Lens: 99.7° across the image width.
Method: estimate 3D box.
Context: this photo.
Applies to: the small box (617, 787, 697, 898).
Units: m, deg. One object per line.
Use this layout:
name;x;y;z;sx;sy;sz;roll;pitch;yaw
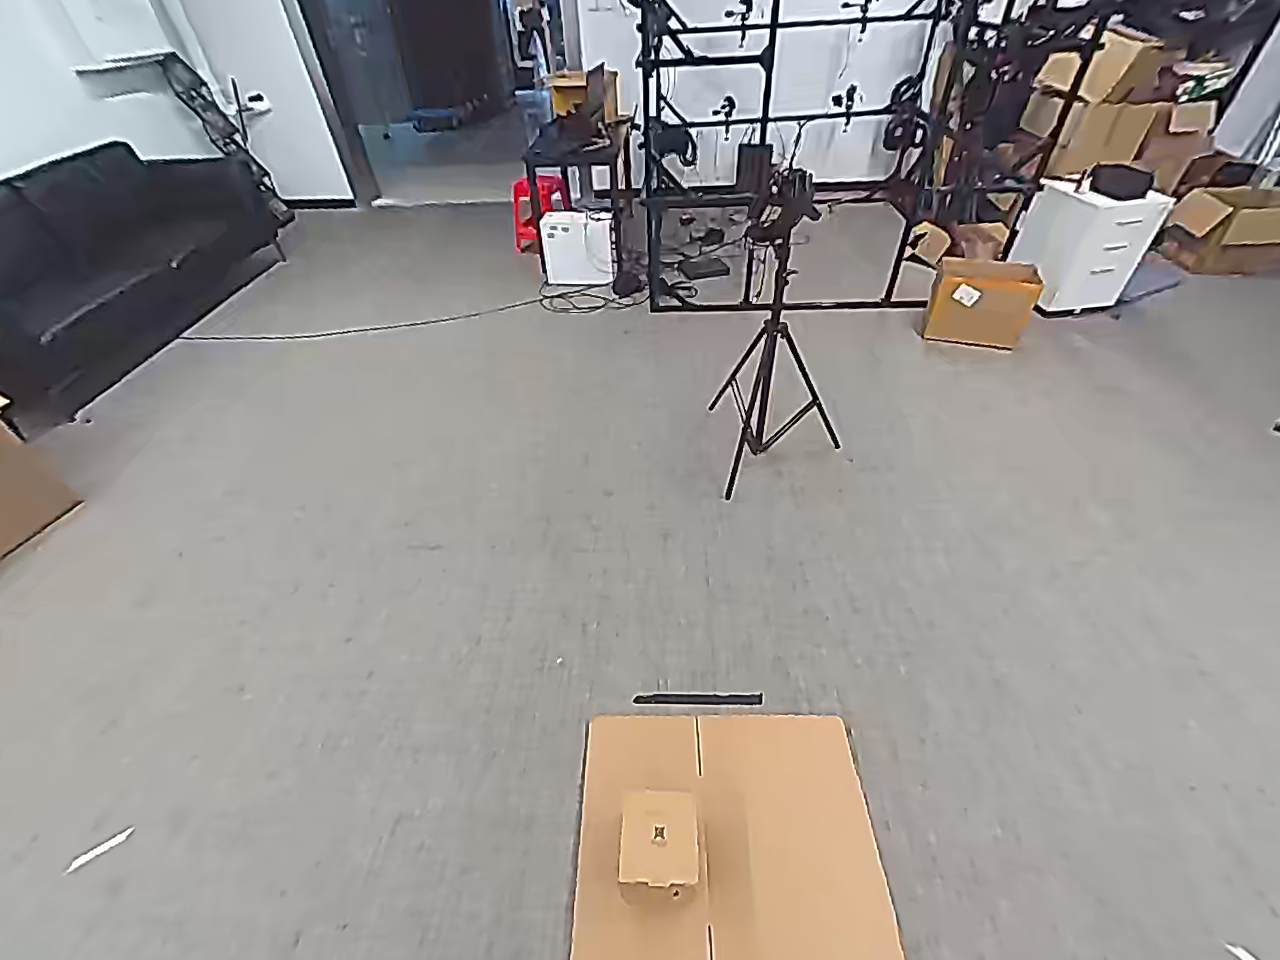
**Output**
small box;0.040;0.812;1.208;0.168;0.176;0.179;1;42;2
